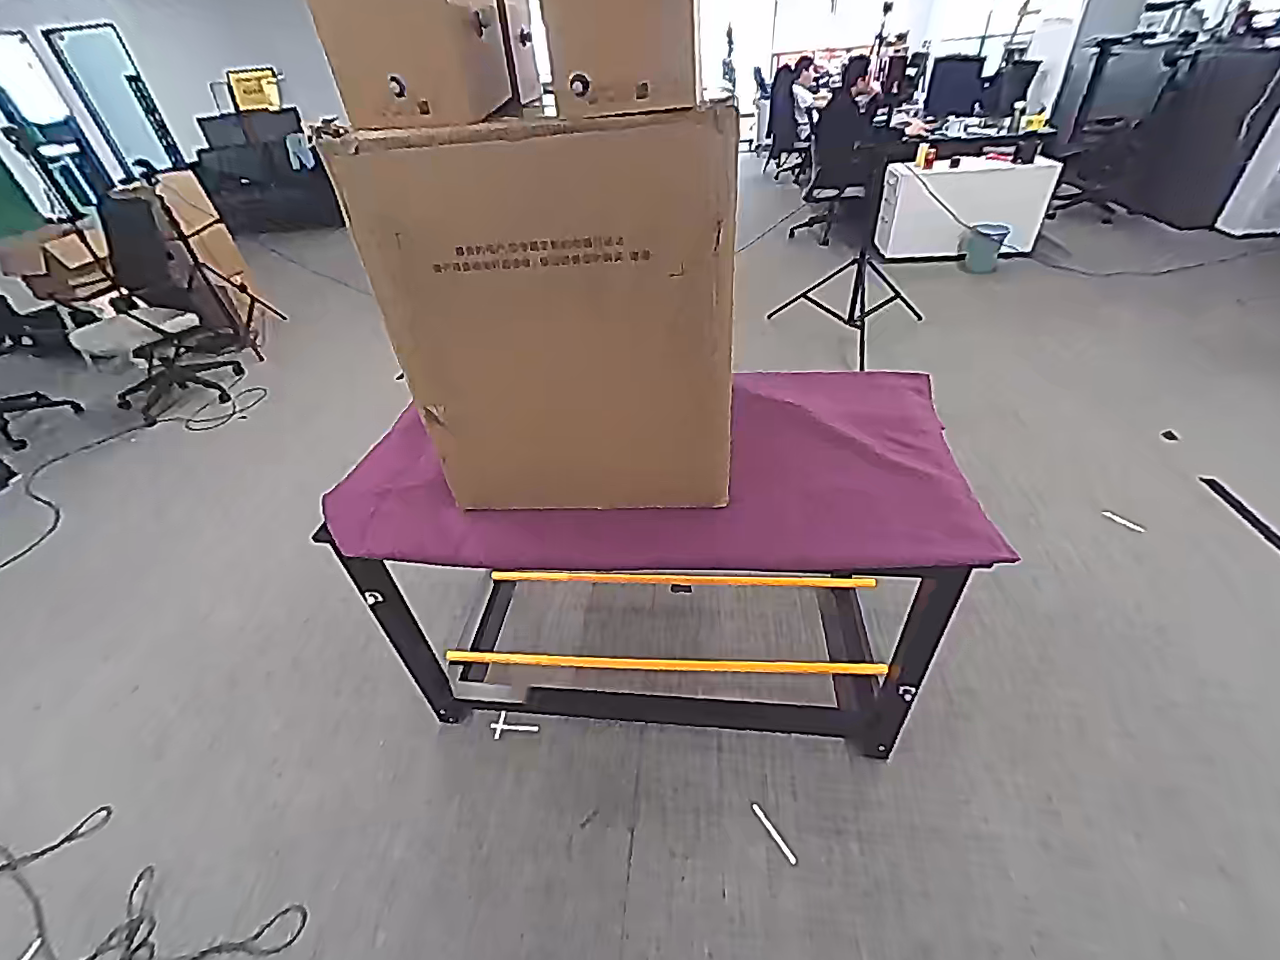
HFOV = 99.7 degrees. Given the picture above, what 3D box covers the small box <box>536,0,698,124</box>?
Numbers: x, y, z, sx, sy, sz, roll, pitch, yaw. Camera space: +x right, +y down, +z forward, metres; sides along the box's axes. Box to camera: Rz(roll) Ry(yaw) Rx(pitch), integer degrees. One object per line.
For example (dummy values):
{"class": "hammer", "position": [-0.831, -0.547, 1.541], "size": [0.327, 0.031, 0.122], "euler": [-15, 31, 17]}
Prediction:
{"class": "small box", "position": [-0.018, -0.531, 0.636], "size": [0.168, 0.176, 0.179], "euler": [-1, 41, 7]}
